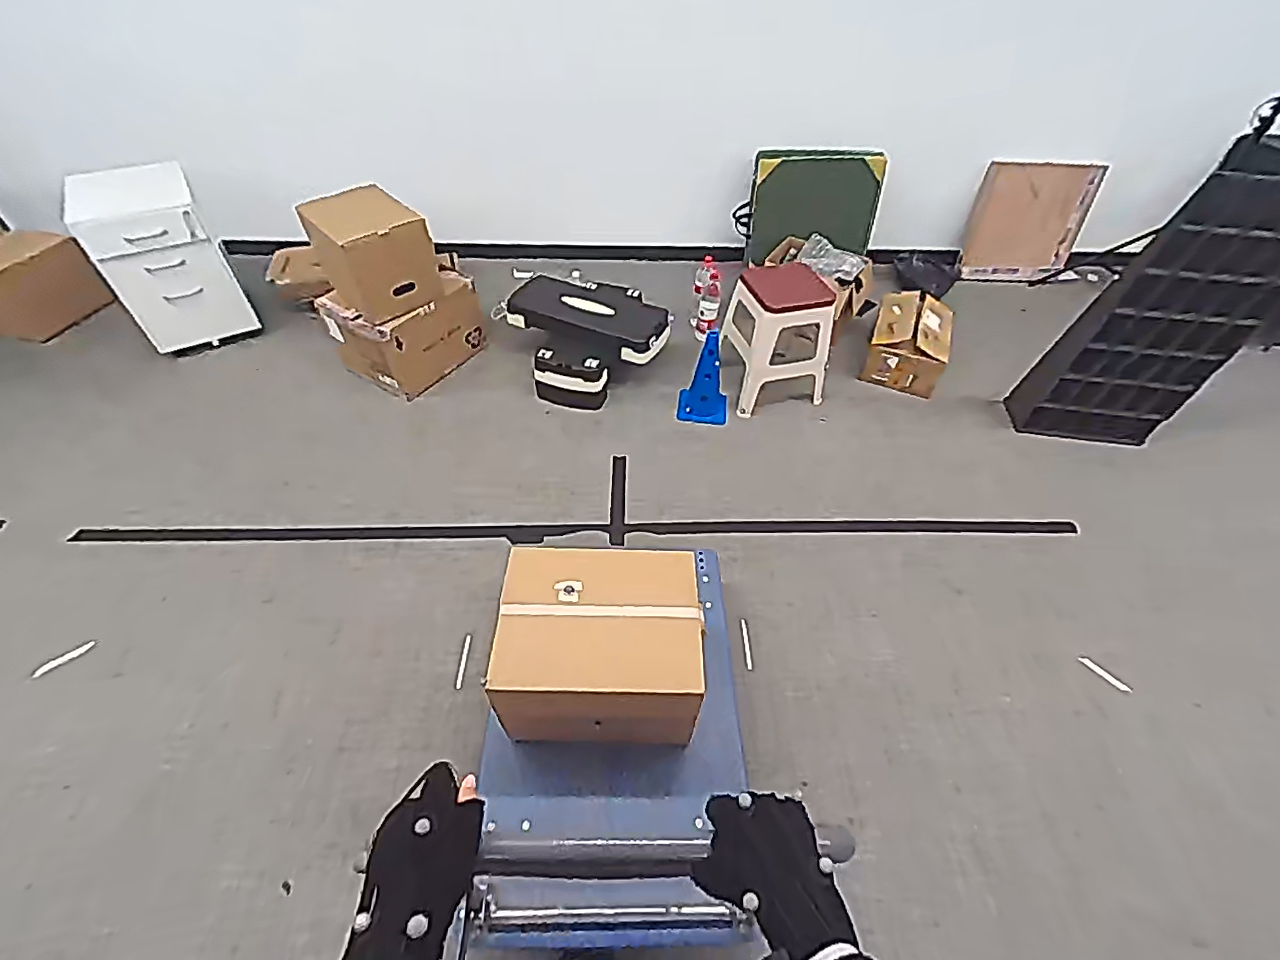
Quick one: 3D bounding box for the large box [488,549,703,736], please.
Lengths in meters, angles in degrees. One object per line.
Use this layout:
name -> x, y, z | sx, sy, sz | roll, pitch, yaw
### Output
large box -> -0.084, 0.367, 1.203 | 0.408, 0.320, 0.320 | 1, 48, -1
